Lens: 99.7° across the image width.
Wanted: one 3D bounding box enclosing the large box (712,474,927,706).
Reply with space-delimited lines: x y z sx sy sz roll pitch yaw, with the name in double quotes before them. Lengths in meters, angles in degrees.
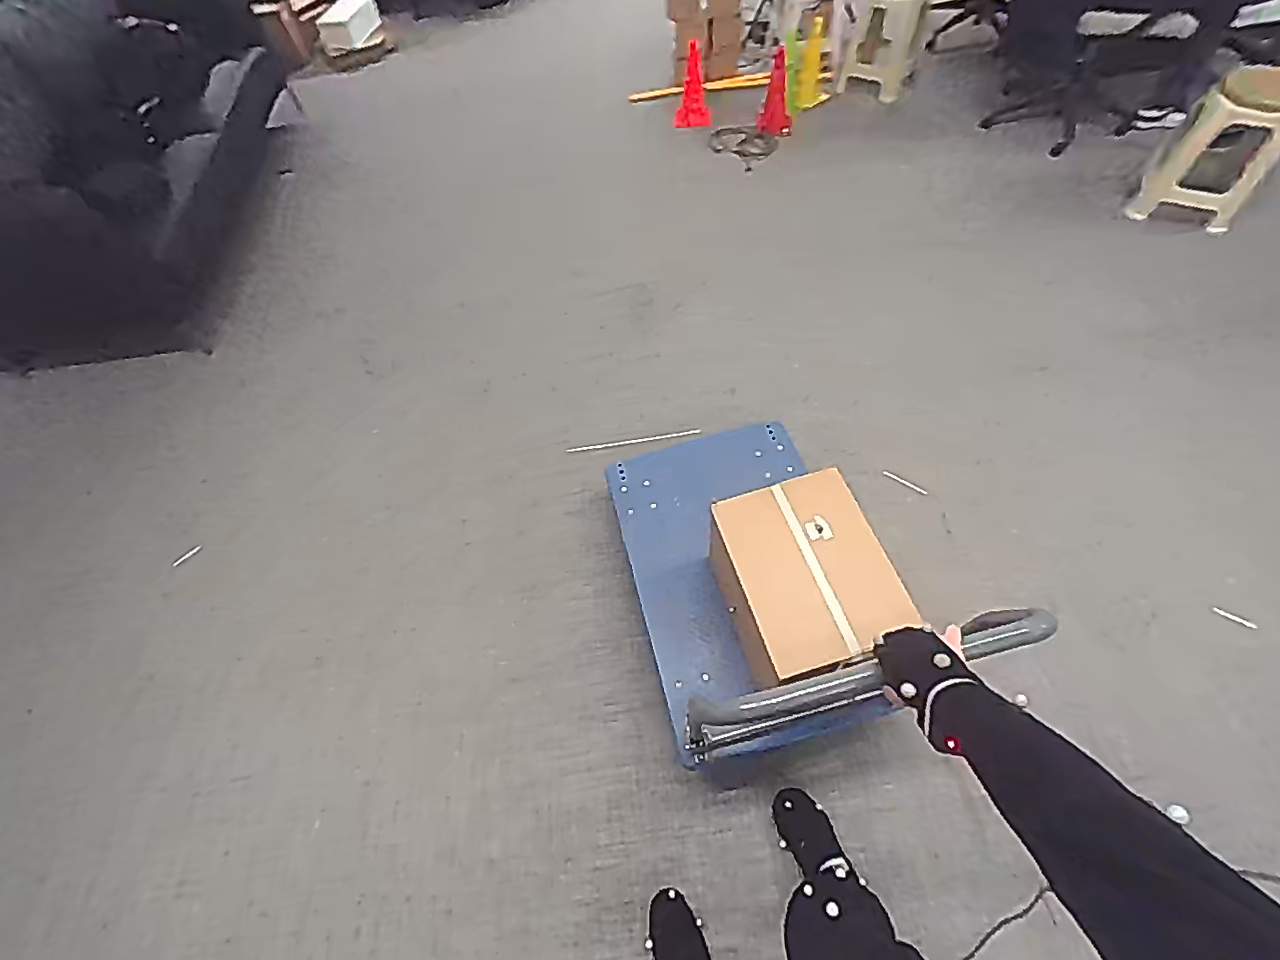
"large box" 0.382 0.264 1.278 0.320 0.320 0.408 -16 58 -4
